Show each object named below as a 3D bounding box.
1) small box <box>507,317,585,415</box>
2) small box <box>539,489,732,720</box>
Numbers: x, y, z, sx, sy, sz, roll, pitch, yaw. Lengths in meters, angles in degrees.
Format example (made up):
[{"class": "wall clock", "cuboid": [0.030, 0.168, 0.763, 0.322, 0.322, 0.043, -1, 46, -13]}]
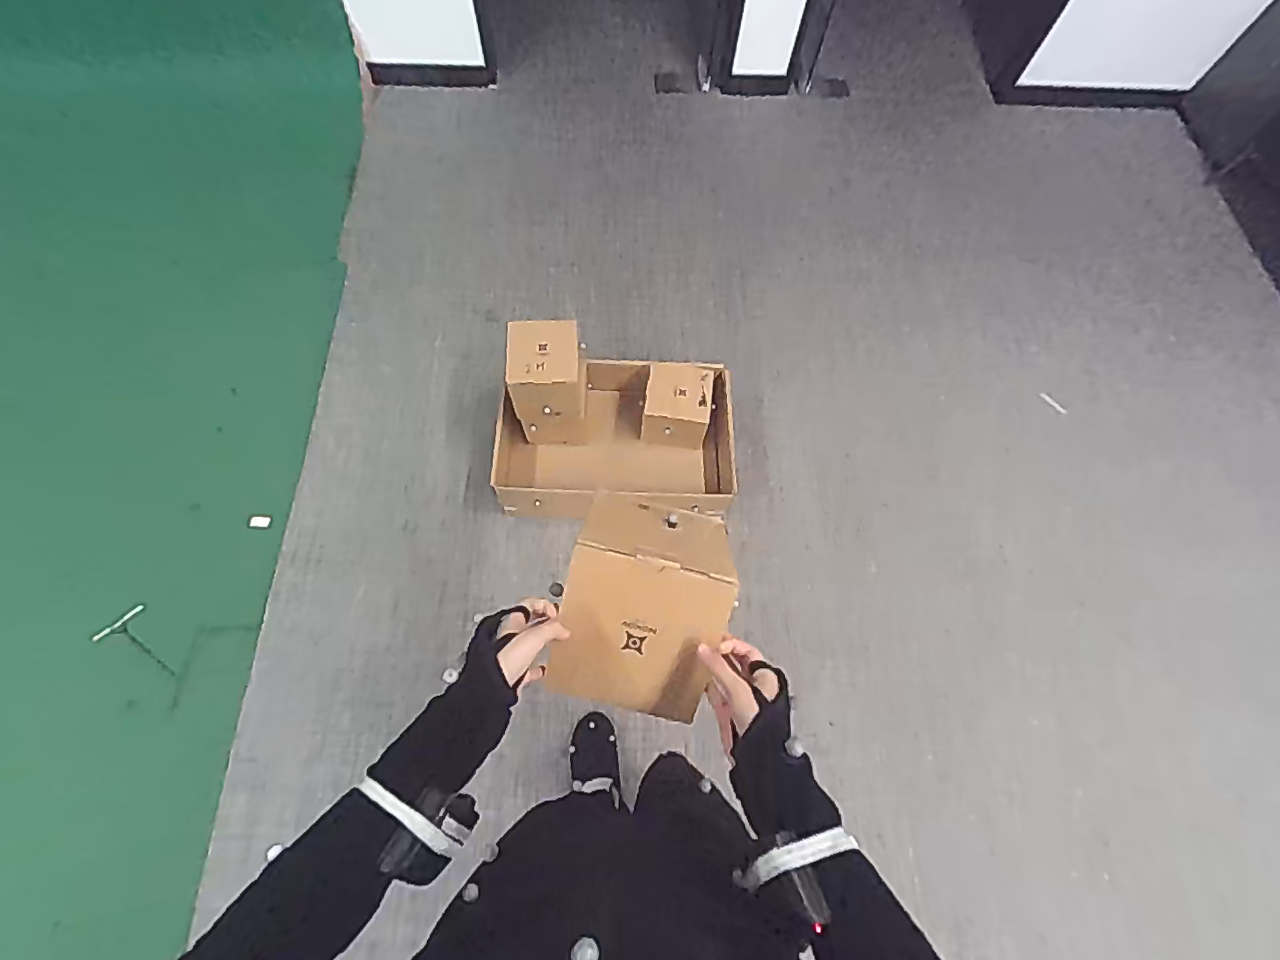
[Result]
[{"class": "small box", "cuboid": [-0.224, -0.277, 1.329, 0.168, 0.176, 0.179, -1, 69, -2]}, {"class": "small box", "cuboid": [-0.002, 0.130, 0.622, 0.168, 0.176, 0.179, 15, 106, 0]}]
